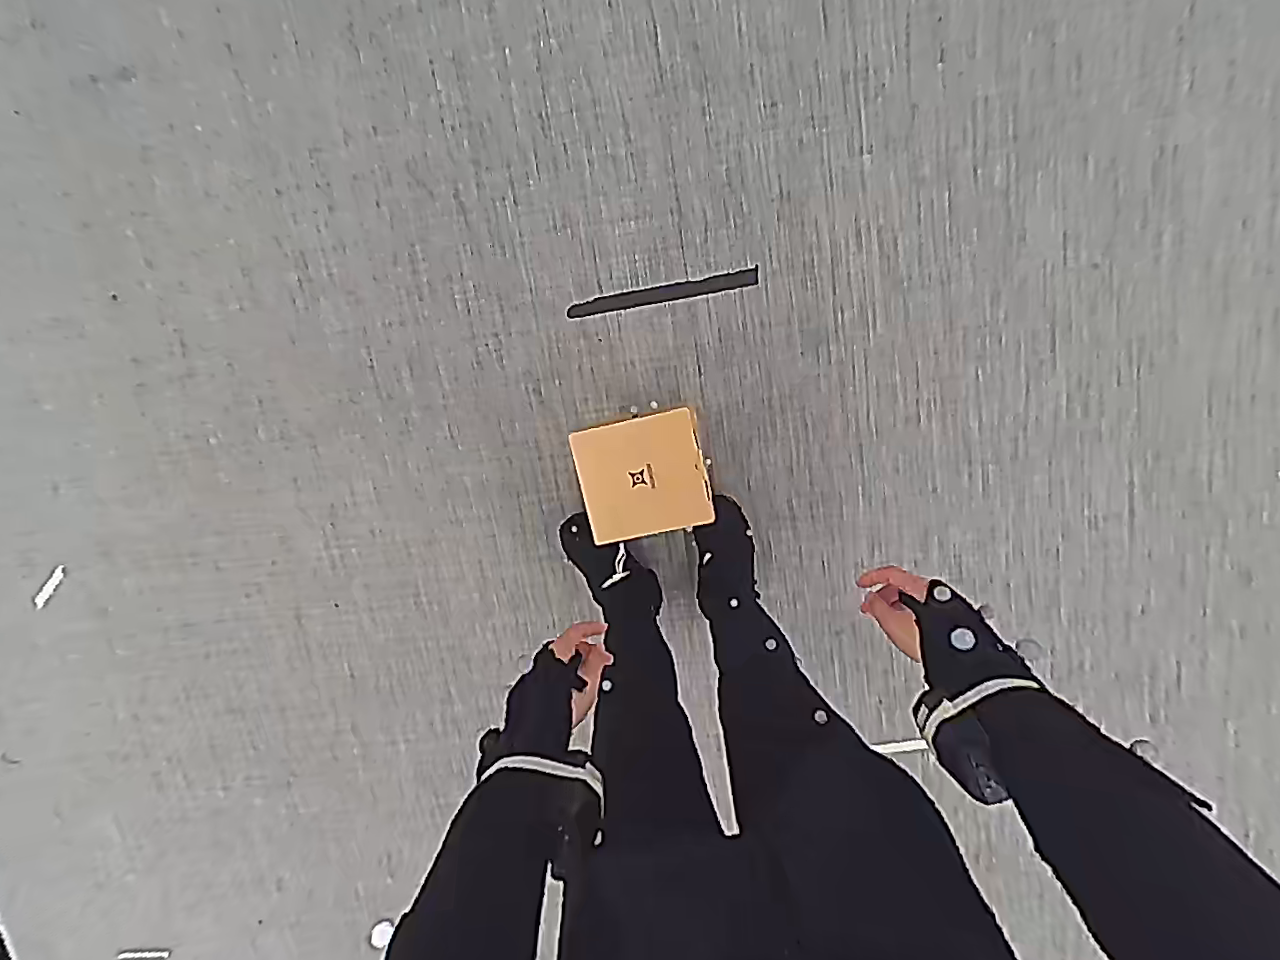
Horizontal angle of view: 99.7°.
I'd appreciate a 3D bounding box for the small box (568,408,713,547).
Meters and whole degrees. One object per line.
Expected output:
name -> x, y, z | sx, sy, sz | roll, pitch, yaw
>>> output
small box -> 0.008, -0.011, 0.827 | 0.179, 0.176, 0.168 | -13, 98, 6
